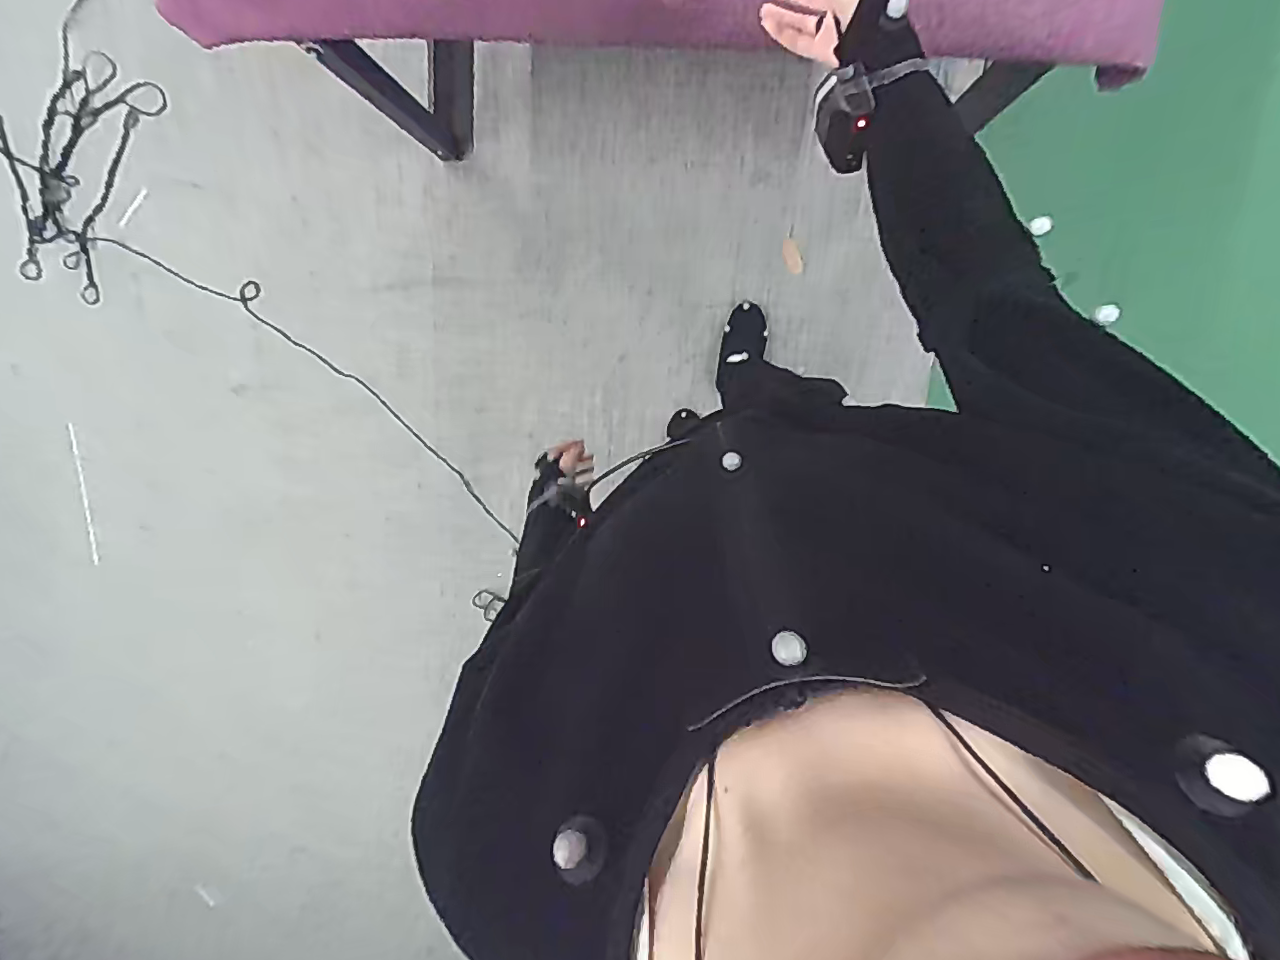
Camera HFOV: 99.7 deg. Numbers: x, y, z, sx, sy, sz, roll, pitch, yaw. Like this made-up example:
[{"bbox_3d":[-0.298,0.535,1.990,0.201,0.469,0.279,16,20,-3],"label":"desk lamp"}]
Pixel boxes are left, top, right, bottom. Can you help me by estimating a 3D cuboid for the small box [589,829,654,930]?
[{"bbox_3d":[-0.053,1.237,1.685,0.168,0.176,0.179,10,103,5],"label":"small box"}]
